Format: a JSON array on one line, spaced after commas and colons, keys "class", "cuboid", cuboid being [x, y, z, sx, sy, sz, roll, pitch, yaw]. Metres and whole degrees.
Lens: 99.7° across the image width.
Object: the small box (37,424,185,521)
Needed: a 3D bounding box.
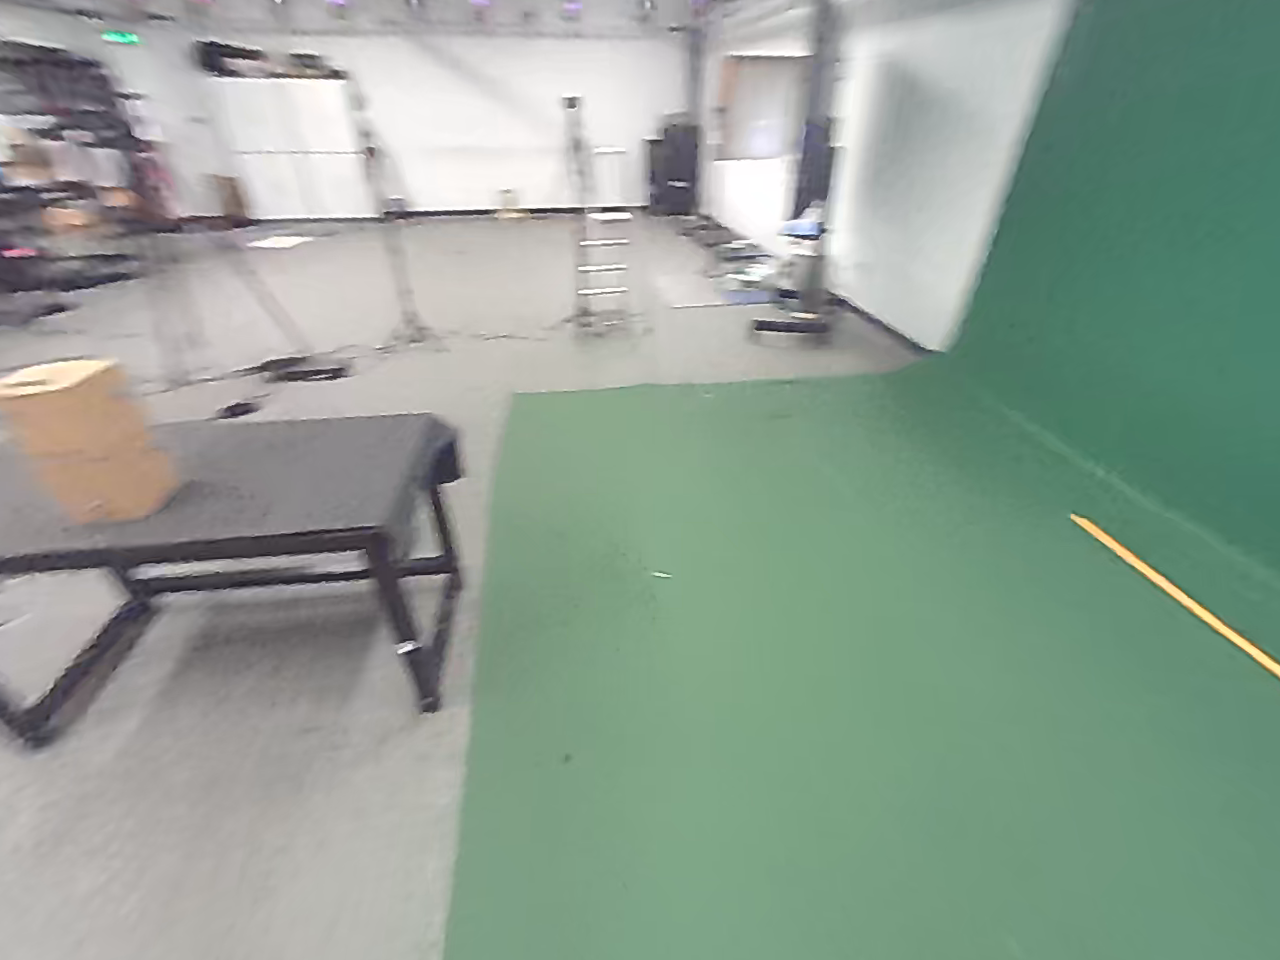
[{"class": "small box", "cuboid": [-1.256, -0.020, 1.307, 0.168, 0.176, 0.179, -5, 34, -7]}]
